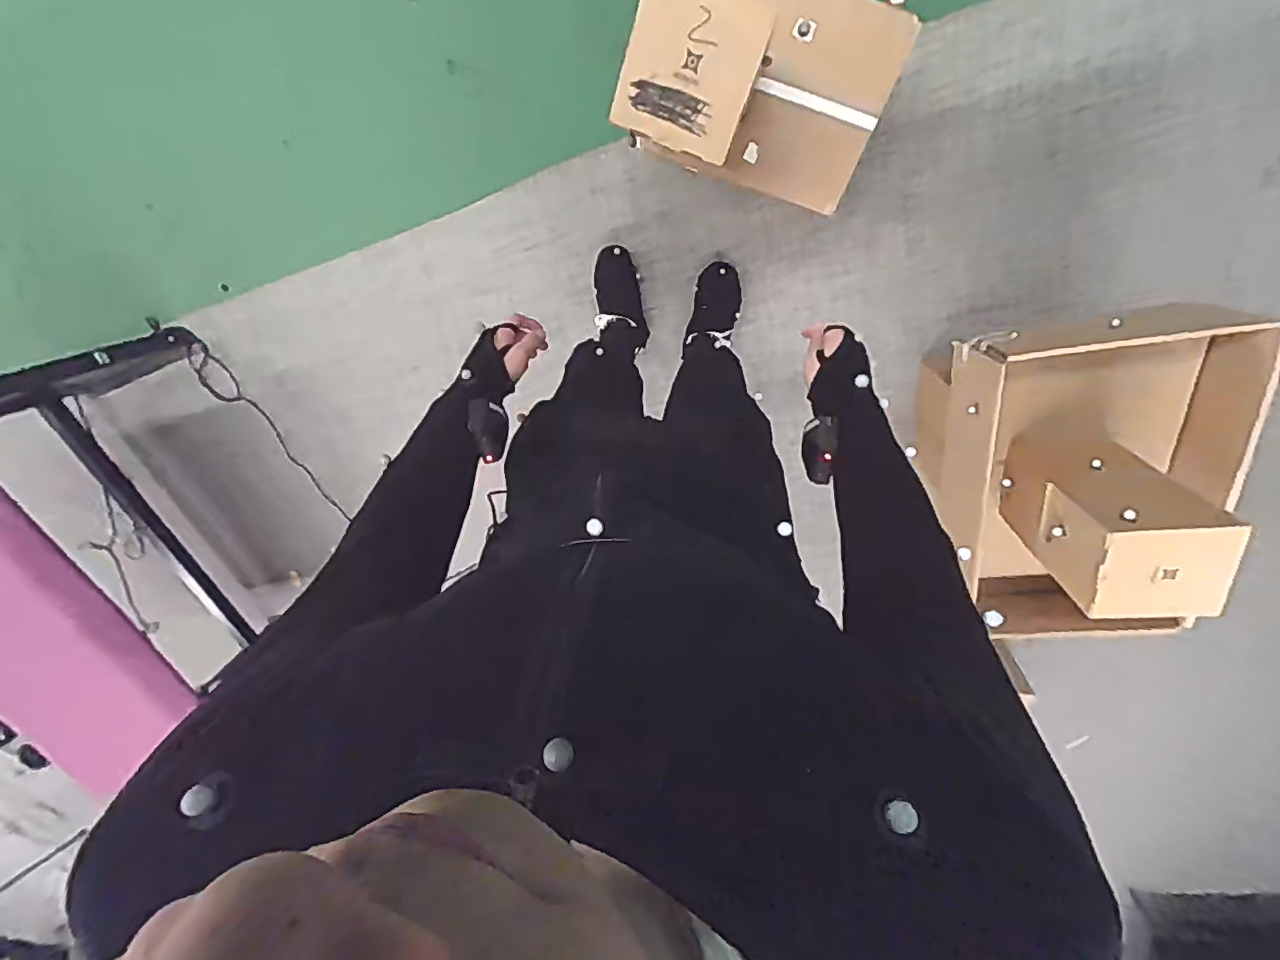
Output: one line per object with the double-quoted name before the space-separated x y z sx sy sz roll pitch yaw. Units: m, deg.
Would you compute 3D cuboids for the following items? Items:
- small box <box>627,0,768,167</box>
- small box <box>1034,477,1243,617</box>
"small box" 0.093 -0.639 0.891 0.168 0.176 0.179 22 119 -5
"small box" 0.794 0.104 0.887 0.179 0.176 0.168 -5 116 12
